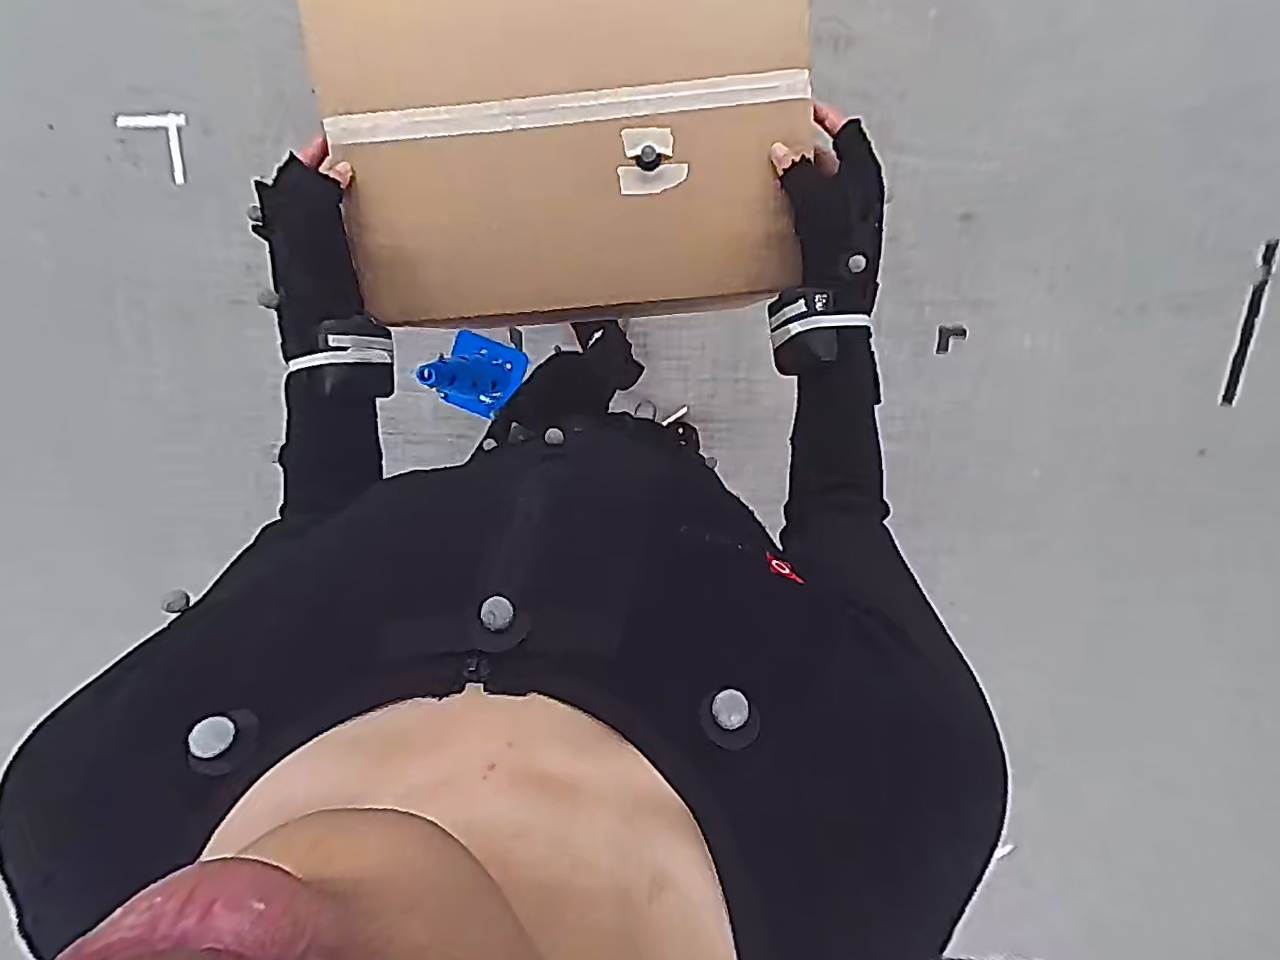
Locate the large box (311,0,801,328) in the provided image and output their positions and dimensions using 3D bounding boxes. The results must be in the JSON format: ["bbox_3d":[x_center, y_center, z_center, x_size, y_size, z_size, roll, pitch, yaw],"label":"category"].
[{"bbox_3d":[-0.067,-0.356,0.608,0.408,0.320,0.320,-5,104,1],"label":"large box"}]

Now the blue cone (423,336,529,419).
[{"bbox_3d":[-0.415,-0.243,1.289,0.193,0.380,0.192,24,101,-1],"label":"blue cone"}]
